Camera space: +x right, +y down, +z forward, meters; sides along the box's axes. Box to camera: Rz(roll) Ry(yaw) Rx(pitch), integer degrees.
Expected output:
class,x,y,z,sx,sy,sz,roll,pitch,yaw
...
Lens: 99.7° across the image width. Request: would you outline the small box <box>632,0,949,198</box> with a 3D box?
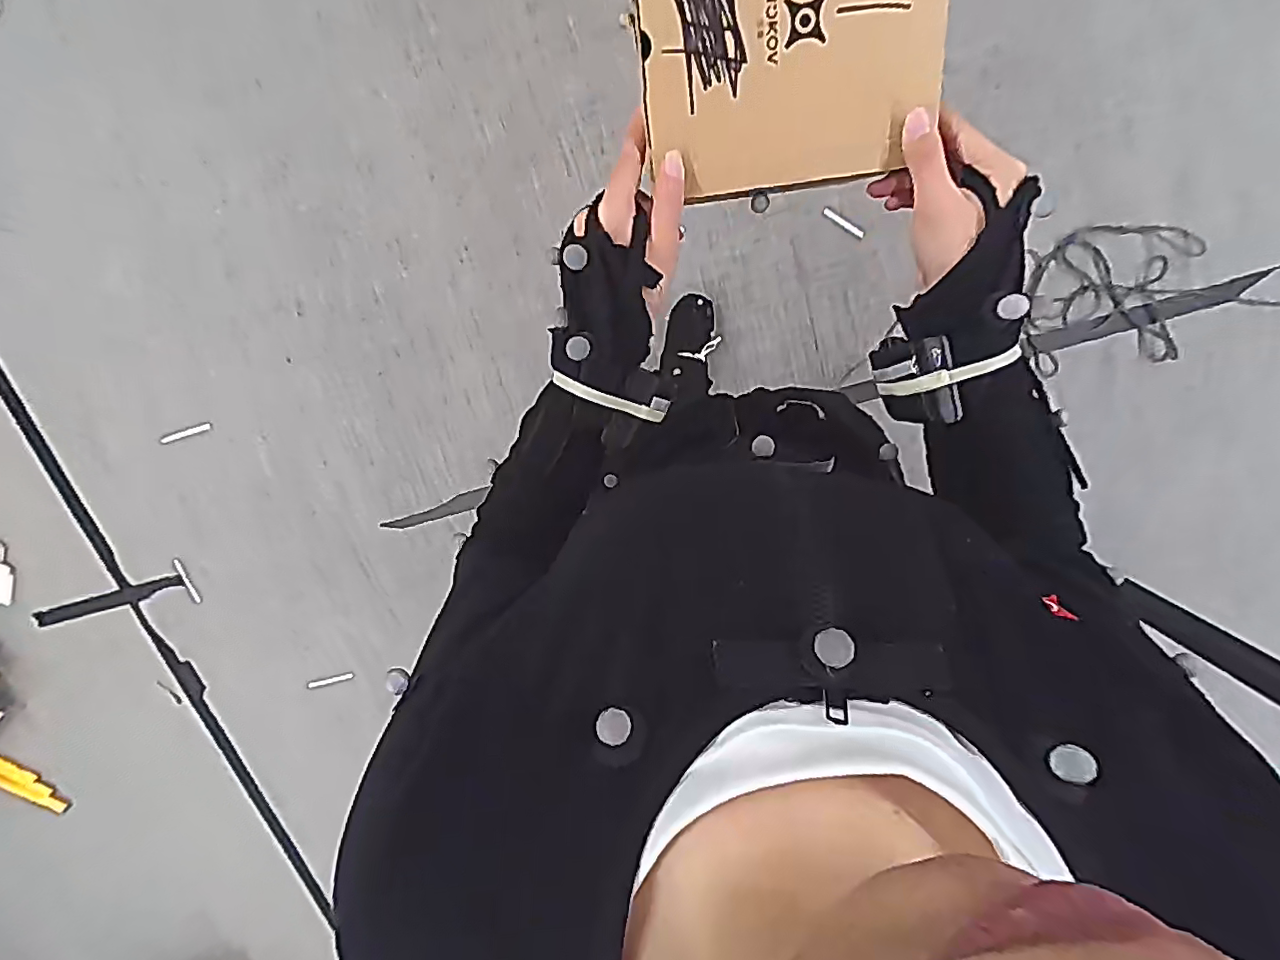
class,x,y,z,sx,sy,sz,roll,pitch,yaw
small box,0.087,-0.299,0.374,0.179,0.176,0.168,-5,115,4
